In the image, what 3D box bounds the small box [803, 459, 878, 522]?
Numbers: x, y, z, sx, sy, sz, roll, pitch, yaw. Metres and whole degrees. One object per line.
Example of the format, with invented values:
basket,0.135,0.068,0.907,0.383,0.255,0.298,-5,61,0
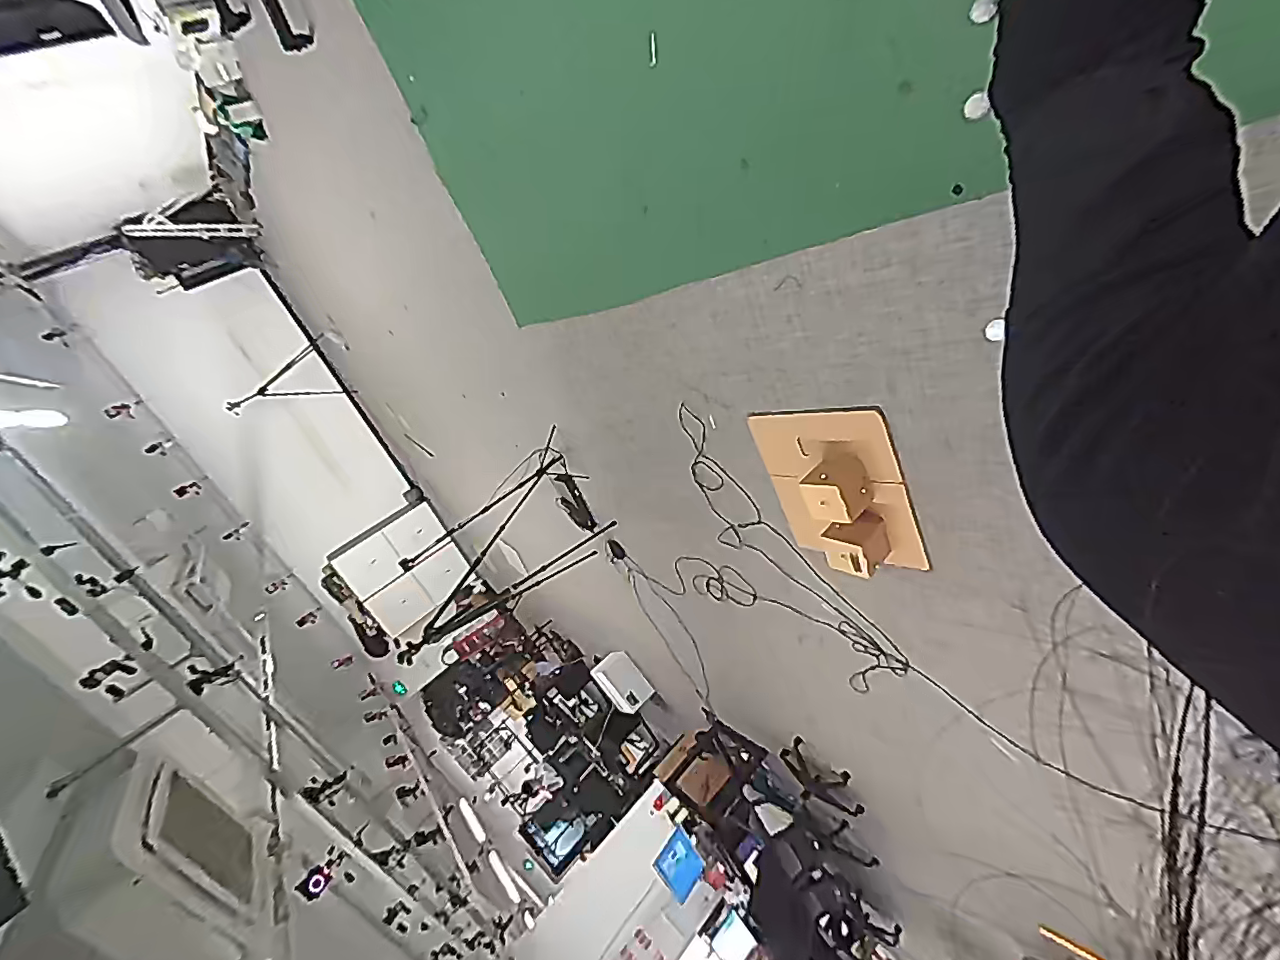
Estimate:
small box,0.746,0.033,2.003,0.179,0.176,0.168,2,125,55
